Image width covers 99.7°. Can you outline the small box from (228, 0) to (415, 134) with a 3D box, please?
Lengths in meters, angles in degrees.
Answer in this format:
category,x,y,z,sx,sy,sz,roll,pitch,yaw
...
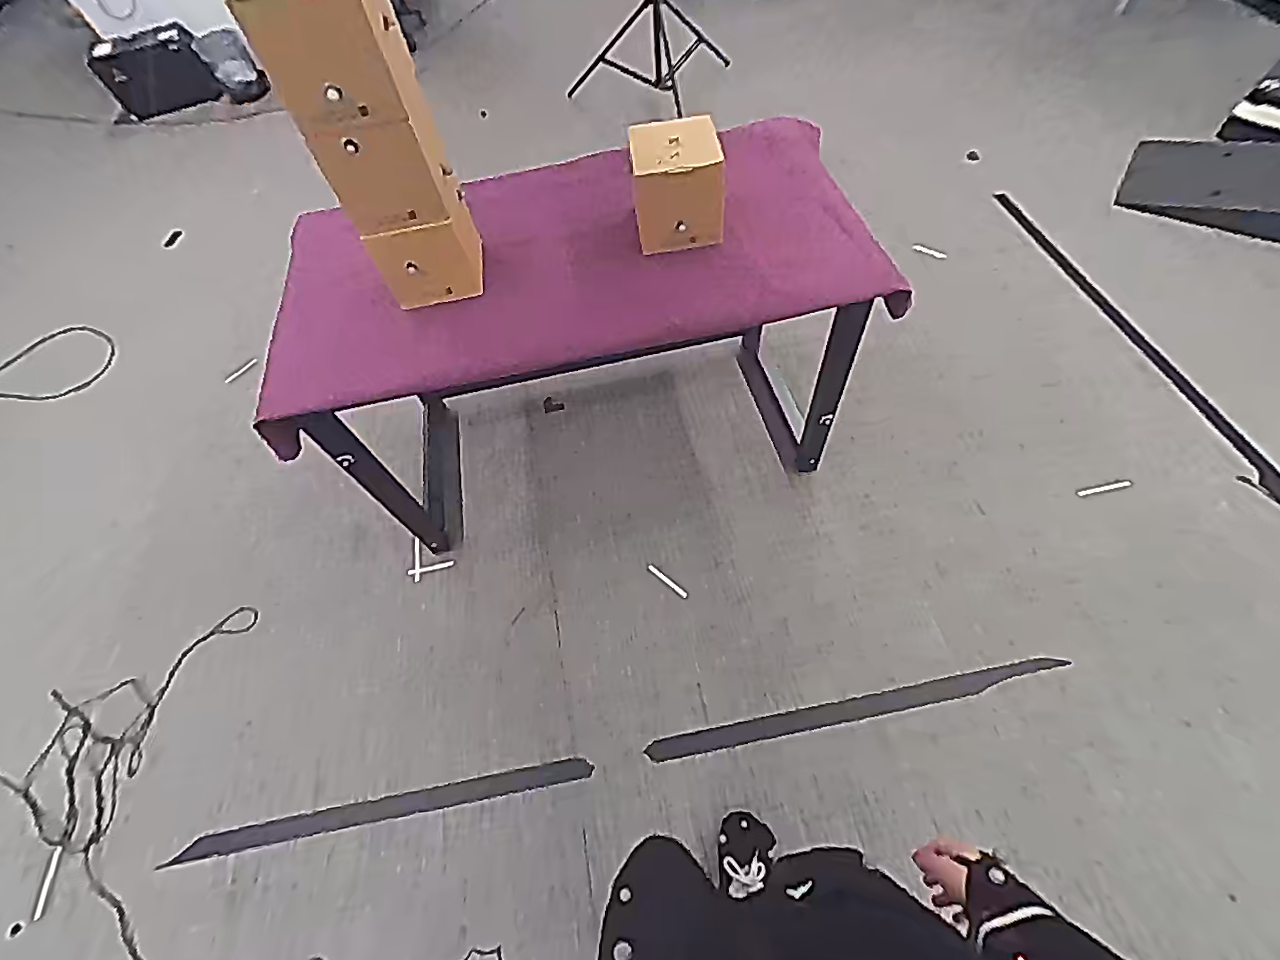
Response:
category,x,y,z,sx,sy,sz,roll,pitch,yaw
small box,-0.445,-0.642,0.787,0.168,0.176,0.179,-11,59,-1

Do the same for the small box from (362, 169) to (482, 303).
category,x,y,z,sx,sy,sz,roll,pitch,yaw
small box,-0.418,-0.471,1.066,0.168,0.176,0.179,-11,59,-1

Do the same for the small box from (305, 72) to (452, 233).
category,x,y,z,sx,sy,sz,roll,pitch,yaw
small box,-0.434,-0.559,0.929,0.168,0.176,0.179,-12,58,-1

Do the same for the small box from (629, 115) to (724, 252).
category,x,y,z,sx,sy,sz,roll,pitch,yaw
small box,0.071,-0.589,1.083,0.168,0.176,0.179,-8,59,2
